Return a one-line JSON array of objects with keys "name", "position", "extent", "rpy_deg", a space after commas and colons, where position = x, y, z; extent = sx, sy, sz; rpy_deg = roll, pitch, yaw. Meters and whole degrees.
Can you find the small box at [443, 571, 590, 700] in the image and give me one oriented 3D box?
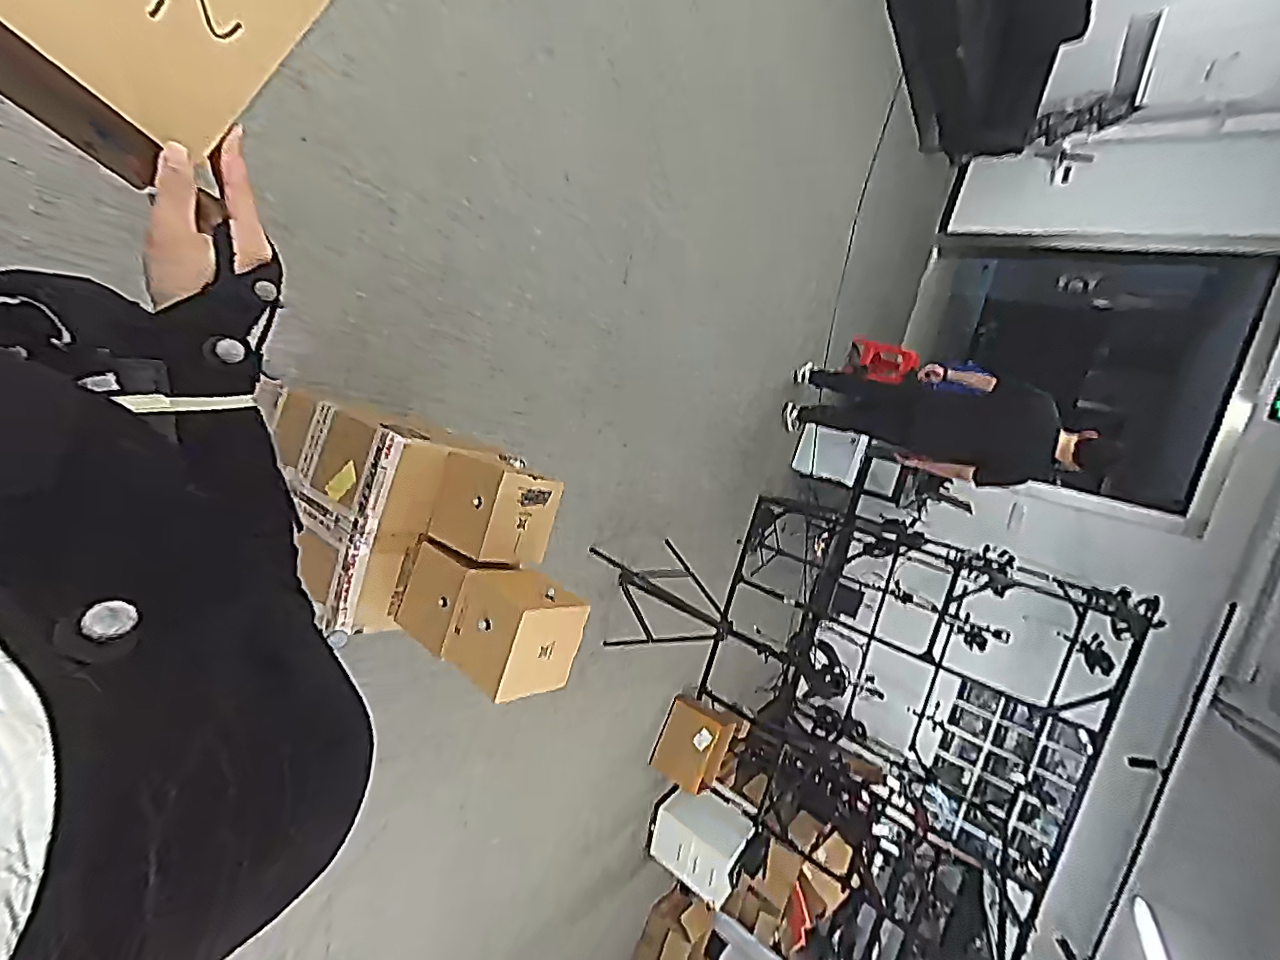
[{"name": "small box", "position": [-0.228, 0.273, 0.991], "extent": [0.179, 0.176, 0.168], "rpy_deg": [14, 95, -55]}]
